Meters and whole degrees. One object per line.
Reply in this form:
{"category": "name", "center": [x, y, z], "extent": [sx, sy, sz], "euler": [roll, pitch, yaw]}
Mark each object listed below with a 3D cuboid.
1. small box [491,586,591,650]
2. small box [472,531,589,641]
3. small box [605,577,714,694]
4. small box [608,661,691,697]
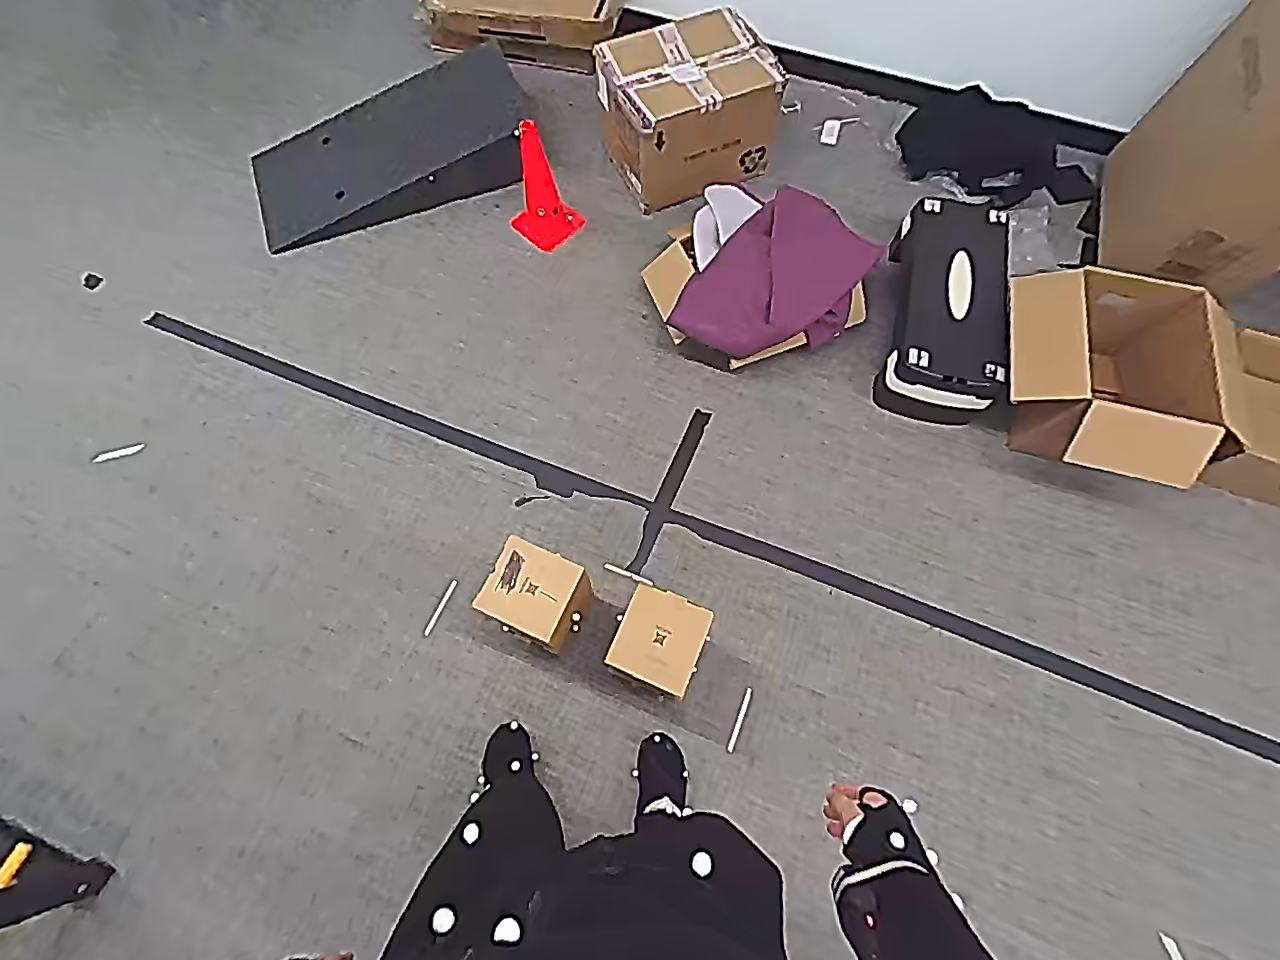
{"category": "small box", "center": [-0.228, 0.300, 1.313], "extent": [0.168, 0.176, 0.179], "euler": [23, 72, 9]}
{"category": "small box", "center": [-0.224, 0.235, 1.160], "extent": [0.179, 0.176, 0.168], "euler": [23, 71, 8]}
{"category": "small box", "center": [0.039, 0.326, 1.128], "extent": [0.168, 0.176, 0.179], "euler": [22, 72, 9]}
{"category": "small box", "center": [0.039, 0.396, 1.276], "extent": [0.179, 0.176, 0.168], "euler": [20, 70, 7]}
